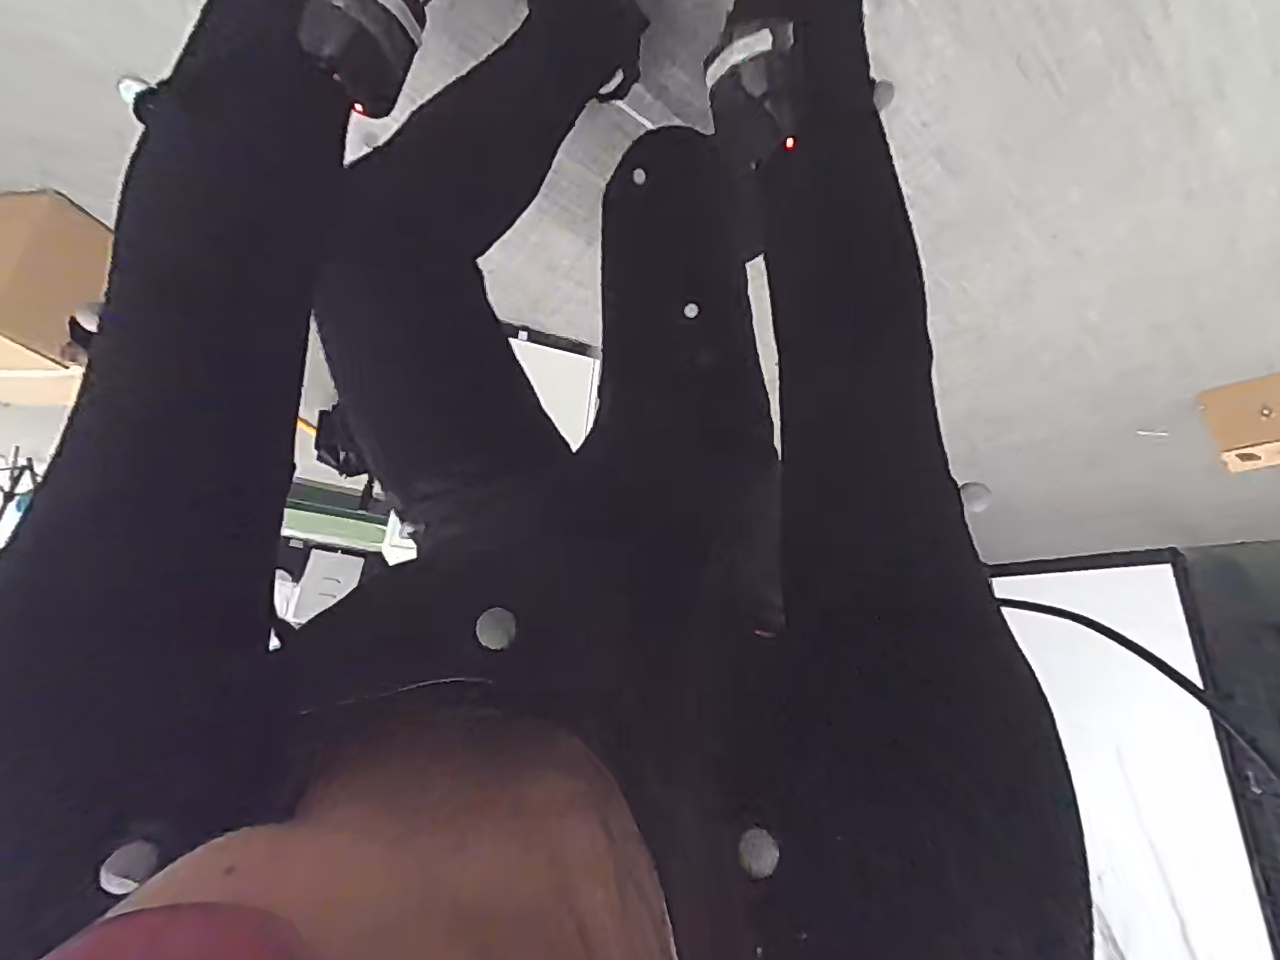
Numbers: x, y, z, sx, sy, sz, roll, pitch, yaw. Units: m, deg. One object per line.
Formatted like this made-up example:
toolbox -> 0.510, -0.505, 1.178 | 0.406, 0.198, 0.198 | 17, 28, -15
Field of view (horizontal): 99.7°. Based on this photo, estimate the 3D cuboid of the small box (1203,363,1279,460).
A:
small box -> 1.531, -0.169, 1.328 | 0.168, 0.176, 0.179 | 19, 156, -34
